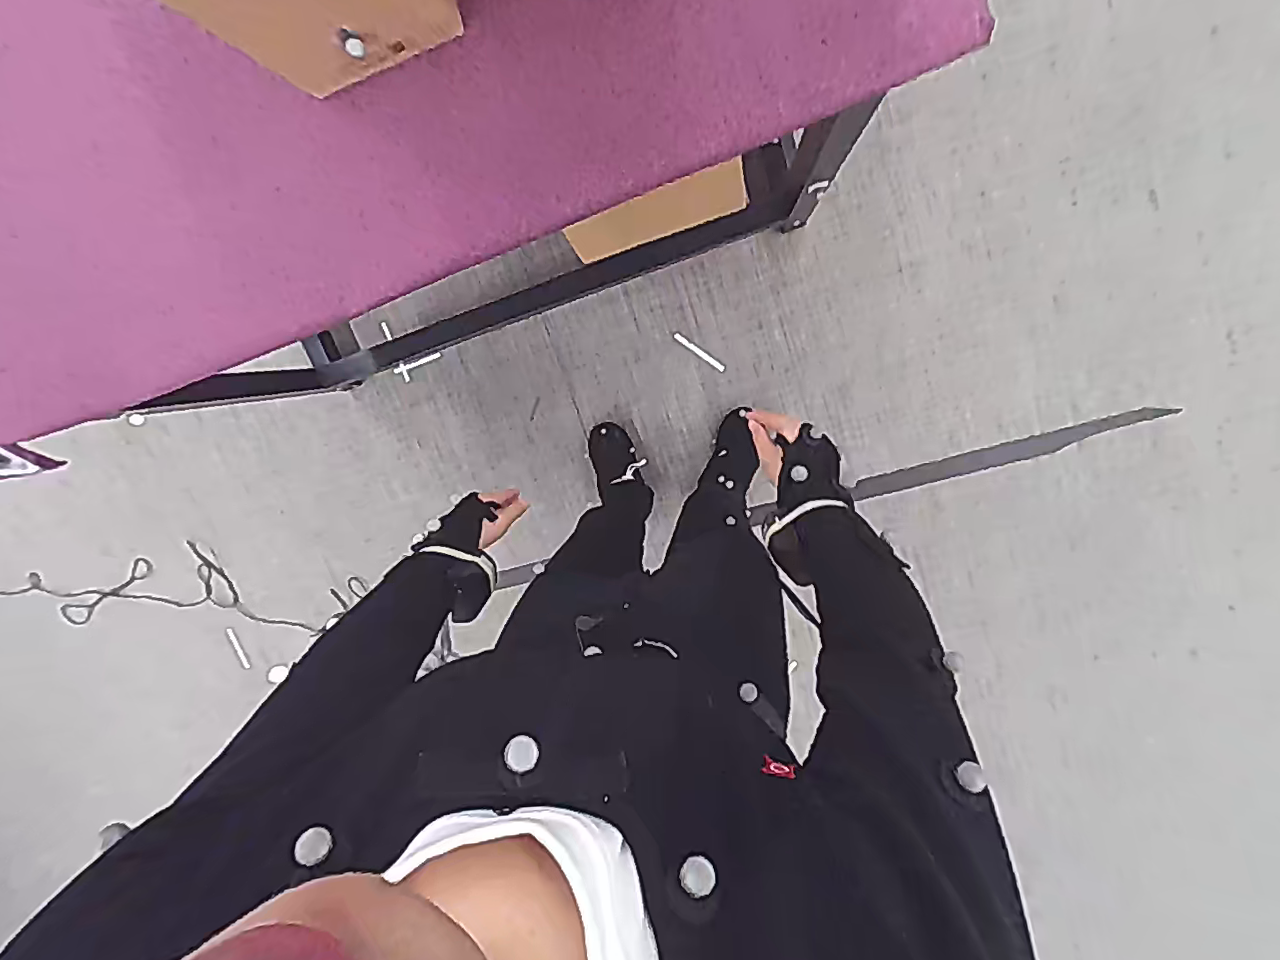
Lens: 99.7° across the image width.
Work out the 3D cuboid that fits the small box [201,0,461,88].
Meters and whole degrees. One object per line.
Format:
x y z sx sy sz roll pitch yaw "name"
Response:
-0.270 -0.458 0.419 0.168 0.176 0.179 -13 101 12 "small box"
